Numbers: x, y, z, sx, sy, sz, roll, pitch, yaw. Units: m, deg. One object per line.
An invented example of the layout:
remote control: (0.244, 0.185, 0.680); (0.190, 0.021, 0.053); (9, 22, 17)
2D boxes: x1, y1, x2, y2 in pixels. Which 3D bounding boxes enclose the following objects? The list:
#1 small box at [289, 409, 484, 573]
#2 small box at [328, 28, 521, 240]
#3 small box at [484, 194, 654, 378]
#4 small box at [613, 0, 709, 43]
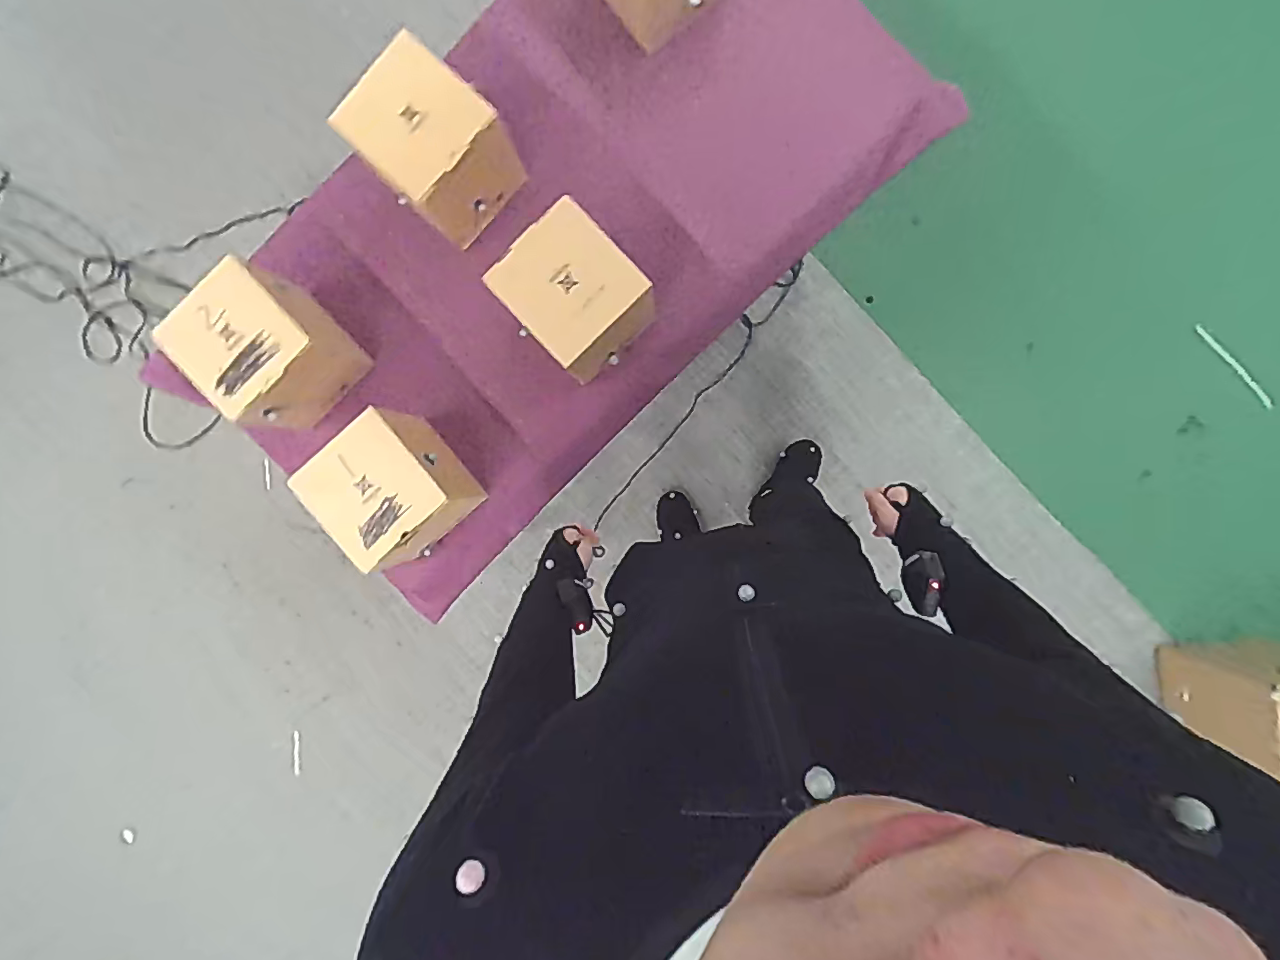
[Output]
small box: (-0.374, 0.013, 0.833); (0.168, 0.176, 0.179); (-41, 88, 3)
small box: (-0.310, -0.502, 0.817); (0.179, 0.176, 0.168); (42, 93, -1)
small box: (-0.096, -0.275, 0.814); (0.168, 0.176, 0.179); (-43, 89, 4)
small box: (0.020, -0.810, 0.789); (0.168, 0.176, 0.179); (-38, 91, 4)
